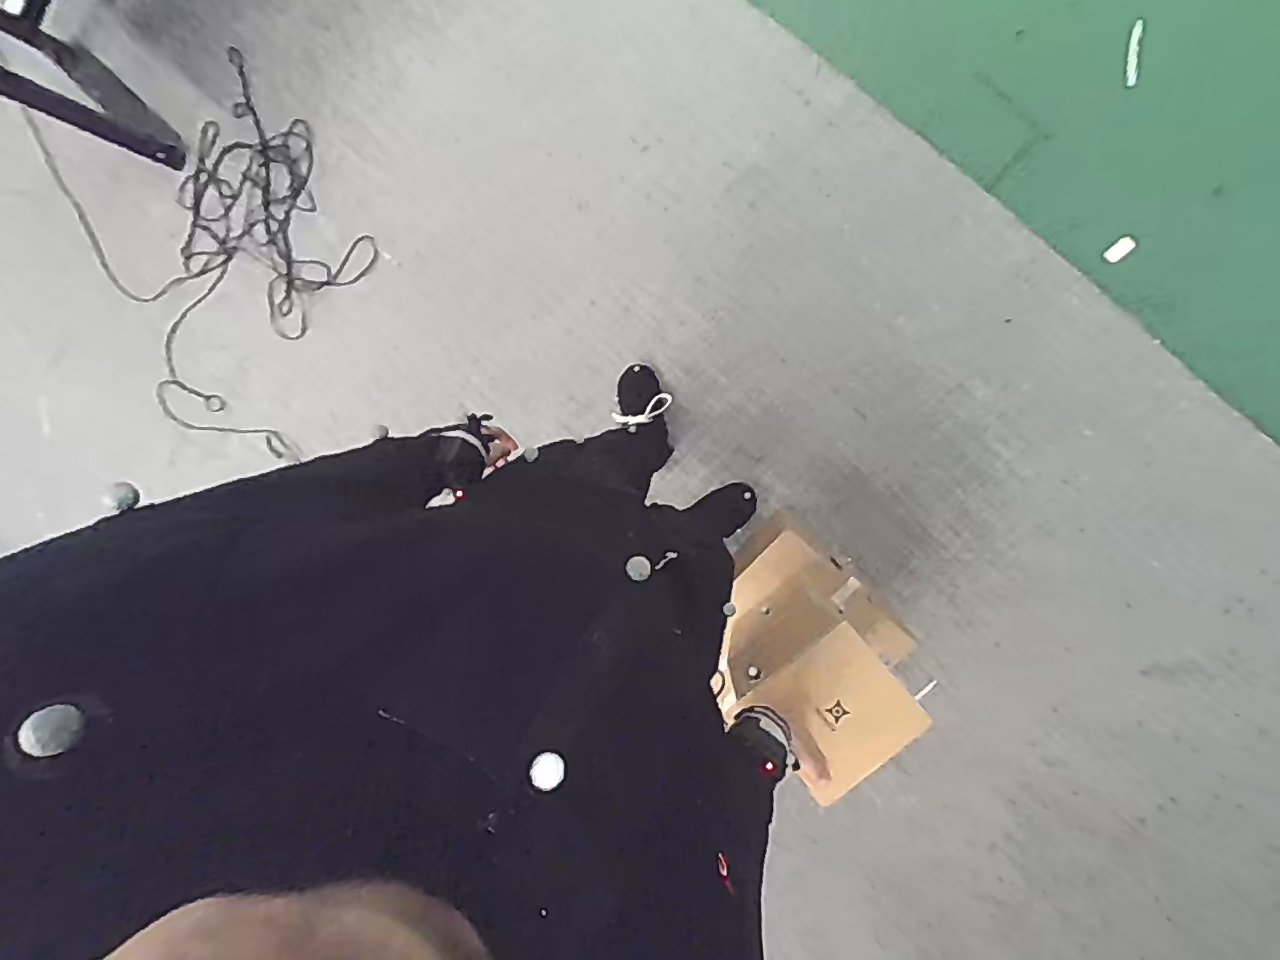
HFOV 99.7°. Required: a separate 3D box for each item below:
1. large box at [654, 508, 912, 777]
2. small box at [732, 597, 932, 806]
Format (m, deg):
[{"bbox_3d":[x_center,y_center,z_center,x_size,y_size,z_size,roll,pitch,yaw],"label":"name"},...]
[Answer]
[{"bbox_3d":[0.294,0.324,1.178,0.320,0.320,0.408,43,104,7],"label":"large box"},{"bbox_3d":[0.245,0.286,0.743,0.179,0.176,0.168,-41,87,4],"label":"small box"}]
